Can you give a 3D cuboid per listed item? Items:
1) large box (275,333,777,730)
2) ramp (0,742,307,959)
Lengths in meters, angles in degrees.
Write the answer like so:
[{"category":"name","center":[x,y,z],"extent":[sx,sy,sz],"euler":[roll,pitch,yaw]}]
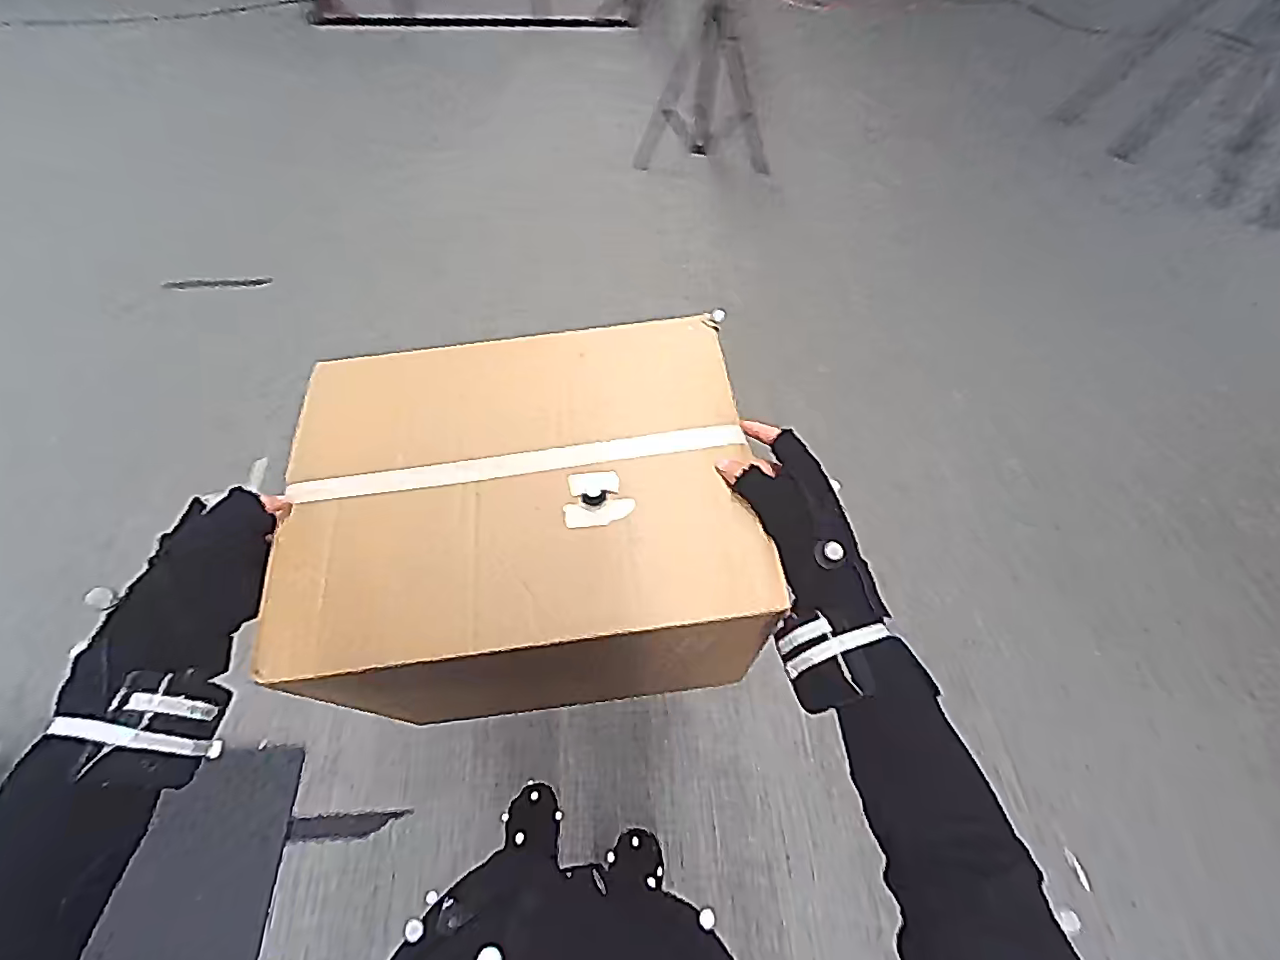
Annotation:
[{"category":"large box","center":[-0.103,0.075,0.623],"extent":[0.408,0.320,0.320],"euler":[-8,60,-3]},{"category":"ramp","center":[-1.270,0.802,1.078],"extent":[0.991,0.206,0.509],"euler":[-3,57,-4]}]
